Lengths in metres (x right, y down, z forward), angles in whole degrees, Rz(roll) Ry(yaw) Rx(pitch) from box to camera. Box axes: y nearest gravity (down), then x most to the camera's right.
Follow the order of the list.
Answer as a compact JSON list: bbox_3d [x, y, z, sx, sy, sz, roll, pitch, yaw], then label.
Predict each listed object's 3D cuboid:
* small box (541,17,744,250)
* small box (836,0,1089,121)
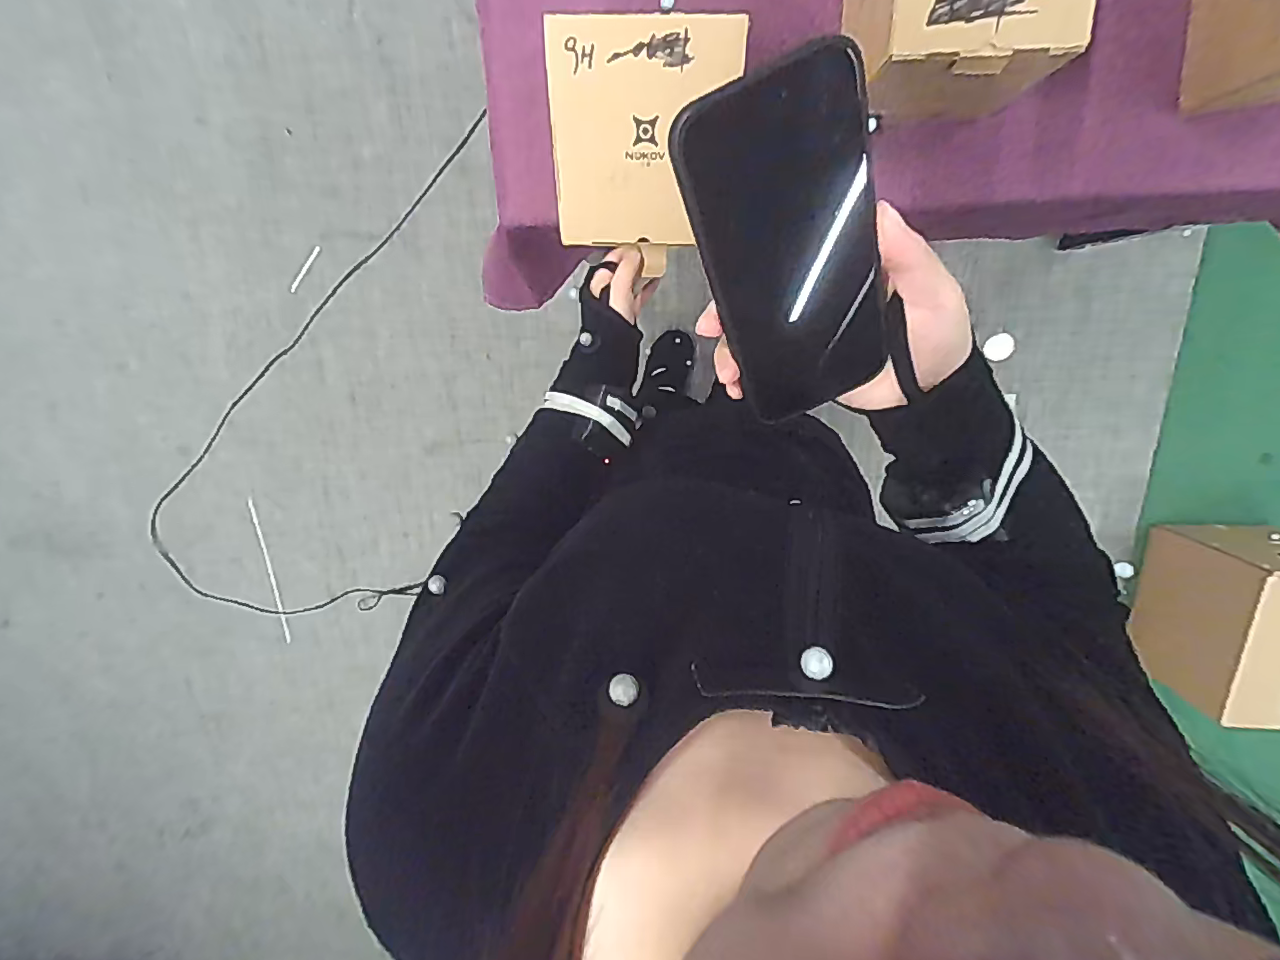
[{"bbox_3d":[0.006,-0.346,0.543,0.168,0.176,0.179,2,128,2],"label":"small box"},{"bbox_3d":[0.297,-0.468,0.518,0.168,0.176,0.179,0,105,3],"label":"small box"}]
